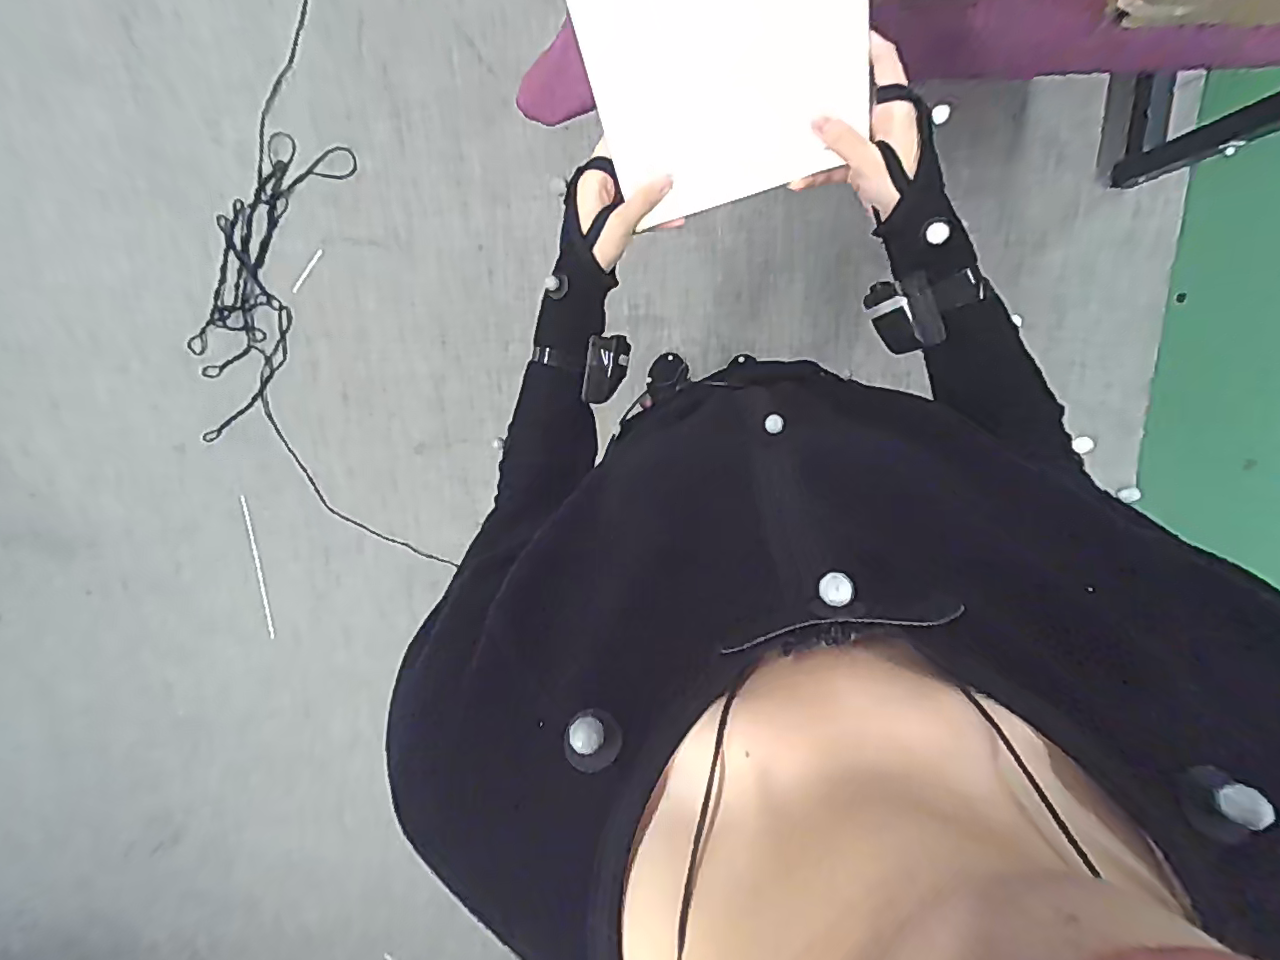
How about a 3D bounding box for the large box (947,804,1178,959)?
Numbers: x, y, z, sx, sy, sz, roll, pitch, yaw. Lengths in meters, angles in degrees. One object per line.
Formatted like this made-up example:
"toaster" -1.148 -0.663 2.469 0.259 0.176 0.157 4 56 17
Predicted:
"large box" 1.168 1.193 1.530 0.408 0.320 0.320 -14 101 6
